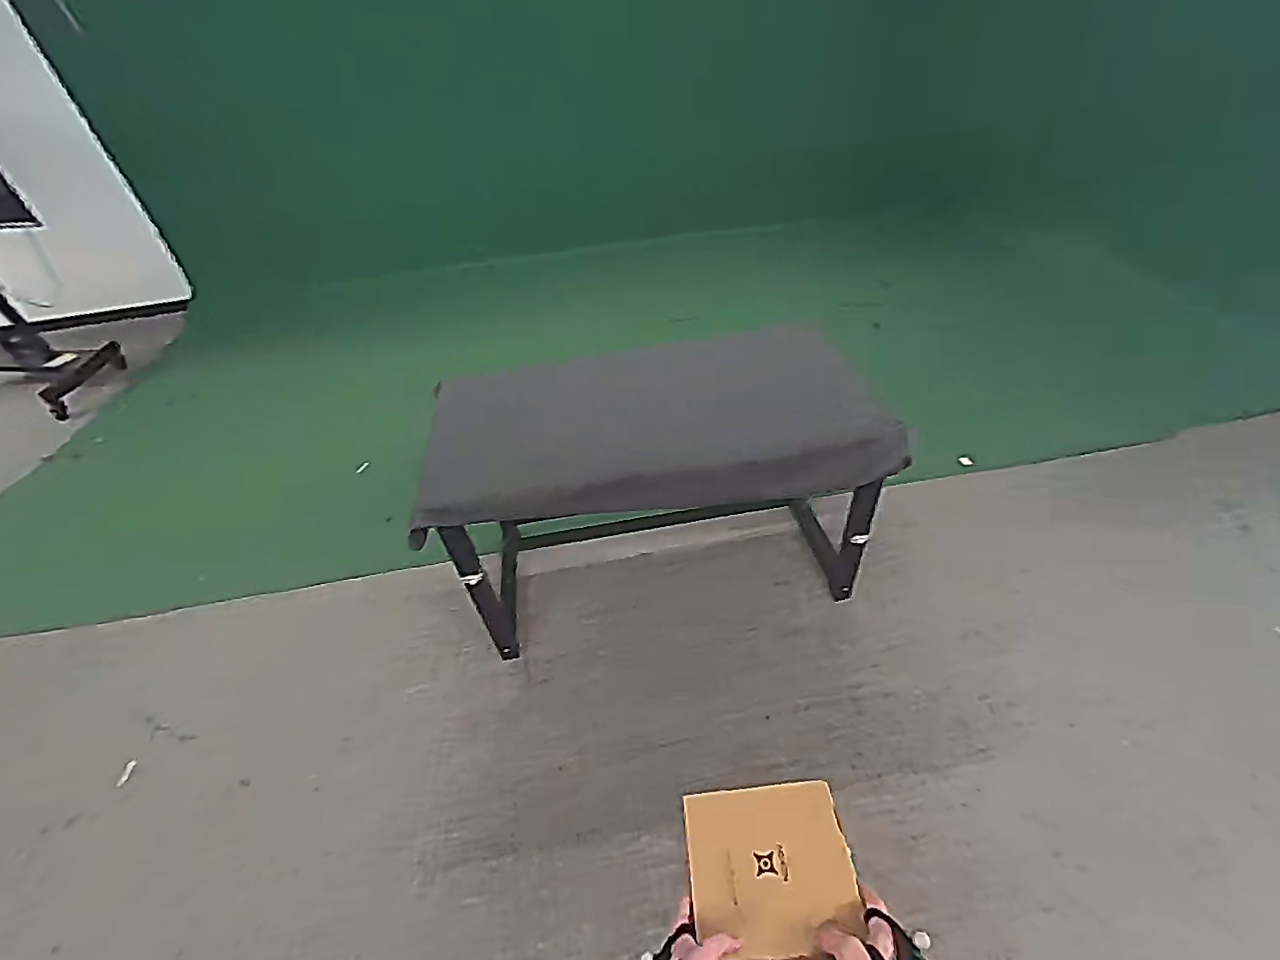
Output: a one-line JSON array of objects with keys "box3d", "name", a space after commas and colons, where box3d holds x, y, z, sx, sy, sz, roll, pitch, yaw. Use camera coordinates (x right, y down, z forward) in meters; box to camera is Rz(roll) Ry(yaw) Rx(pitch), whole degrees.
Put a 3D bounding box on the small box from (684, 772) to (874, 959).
[{"box3d": [0.150, 0.468, 0.625, 0.179, 0.176, 0.168, -8, 31, 5], "name": "small box"}]
